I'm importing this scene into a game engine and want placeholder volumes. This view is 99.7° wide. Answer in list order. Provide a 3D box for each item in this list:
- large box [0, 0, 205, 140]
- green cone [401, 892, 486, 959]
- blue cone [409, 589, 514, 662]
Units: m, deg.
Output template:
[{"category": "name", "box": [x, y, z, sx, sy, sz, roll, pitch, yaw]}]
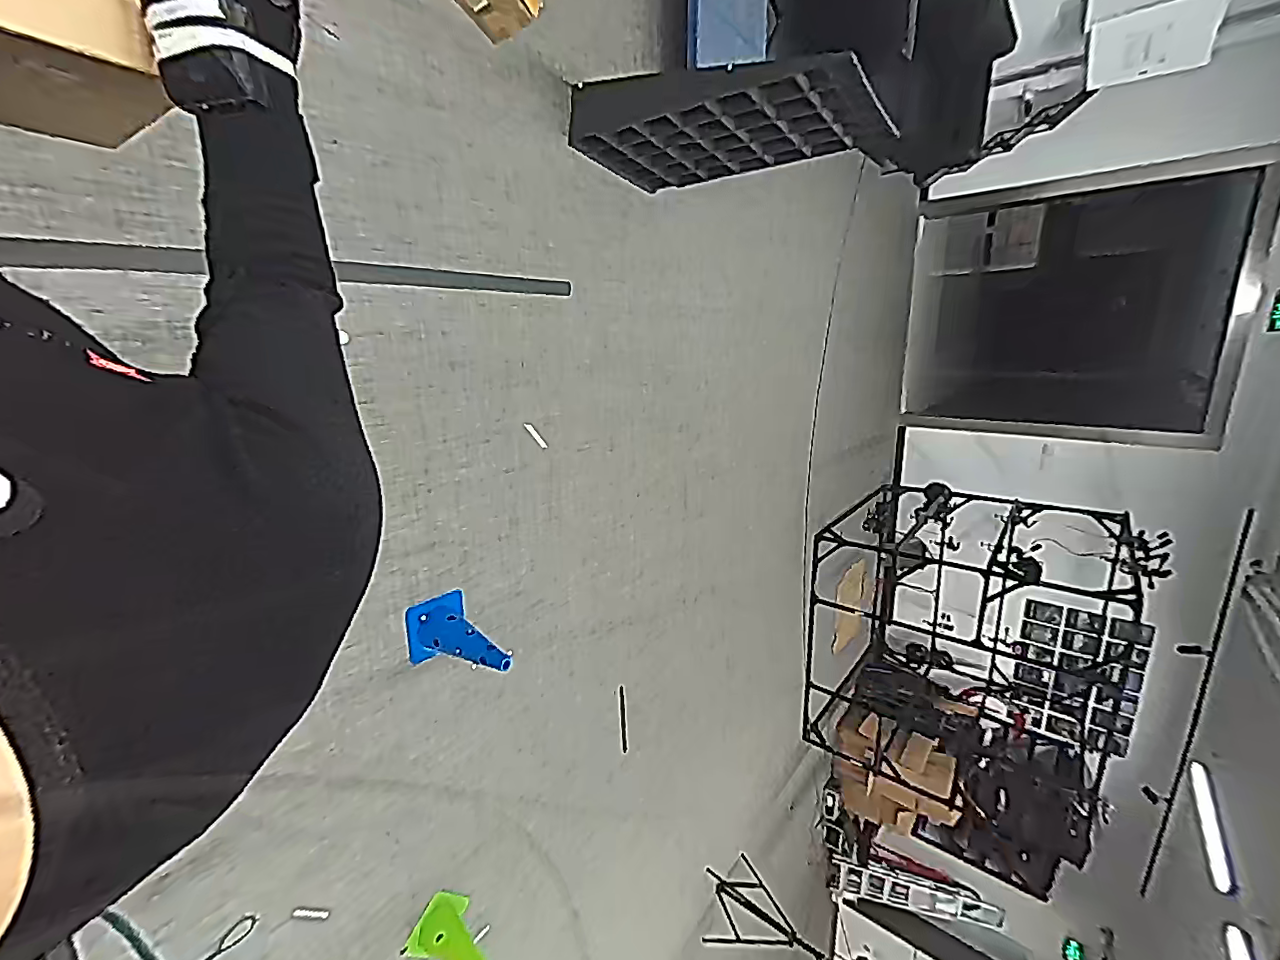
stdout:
[{"category": "large box", "box": [-0.540, -0.425, 0.279, 0.408, 0.320, 0.320, -16, 116, -51]}, {"category": "green cone", "box": [-0.592, 1.608, 1.819, 0.202, 0.368, 0.200, -59, 139, -28]}, {"category": "blue cone", "box": [-0.532, 0.488, 1.664, 0.192, 0.380, 0.193, -15, 110, -51]}]
